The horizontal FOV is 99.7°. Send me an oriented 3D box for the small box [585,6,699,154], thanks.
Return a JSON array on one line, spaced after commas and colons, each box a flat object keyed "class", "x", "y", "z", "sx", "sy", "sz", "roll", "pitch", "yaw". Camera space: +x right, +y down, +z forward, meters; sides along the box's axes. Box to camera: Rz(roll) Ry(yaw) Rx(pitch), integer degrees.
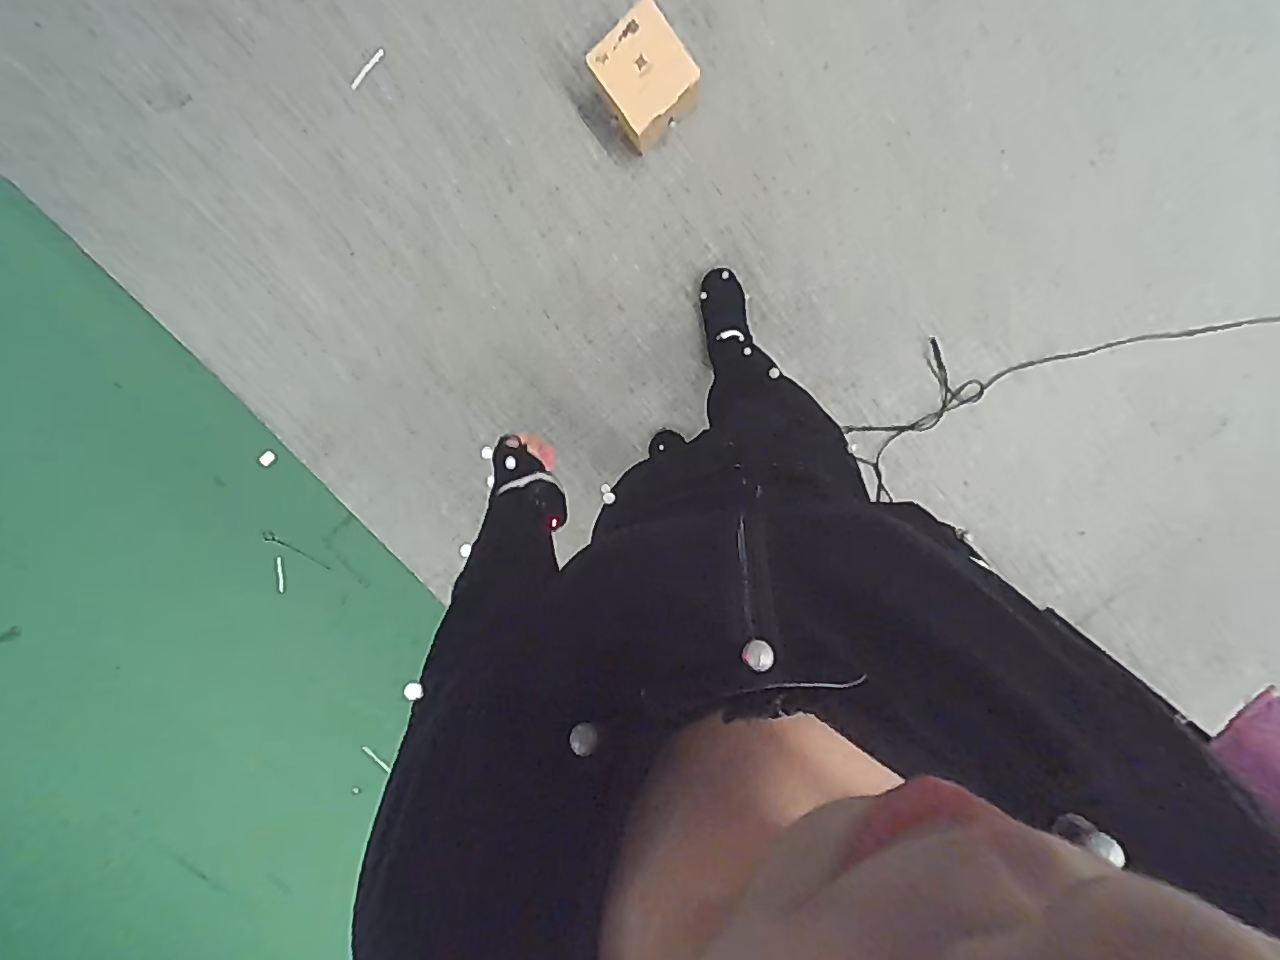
[{"class": "small box", "x": 0.010, "y": -0.831, "z": 1.153, "sx": 0.168, "sy": 0.176, "sz": 0.179, "roll": -36, "pitch": 102, "yaw": 13}]
